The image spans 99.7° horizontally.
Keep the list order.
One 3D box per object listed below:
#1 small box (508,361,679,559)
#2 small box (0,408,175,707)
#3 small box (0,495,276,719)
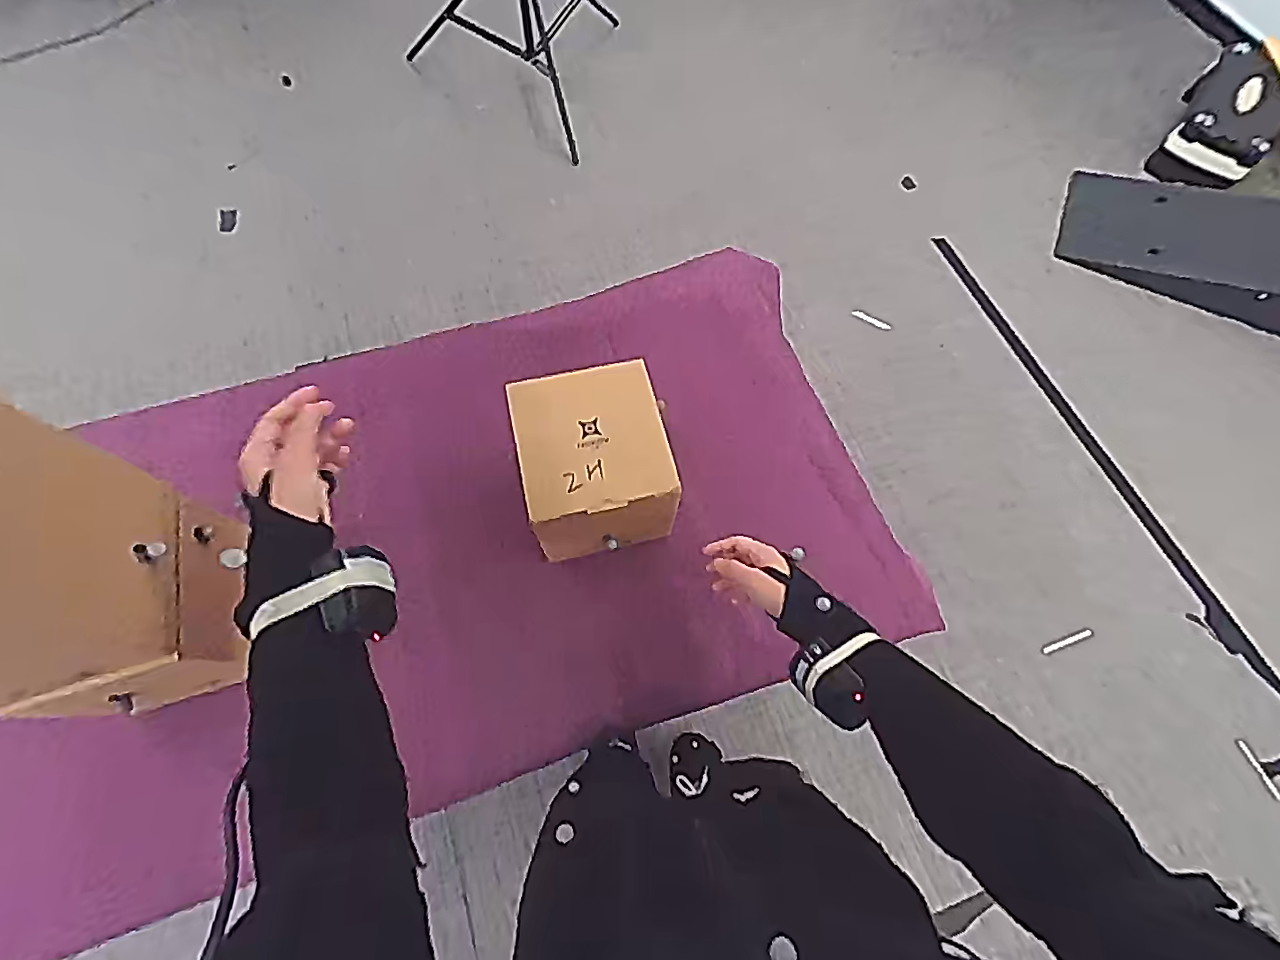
[{"bbox_3d":[-0.059,-0.018,0.674,0.168,0.176,0.179,-12,68,-7],"label":"small box"},{"bbox_3d":[-0.524,0.073,0.439,0.168,0.176,0.179,-17,68,-9],"label":"small box"},{"bbox_3d":[-0.529,0.142,0.588,0.168,0.176,0.179,-16,69,-9],"label":"small box"}]
